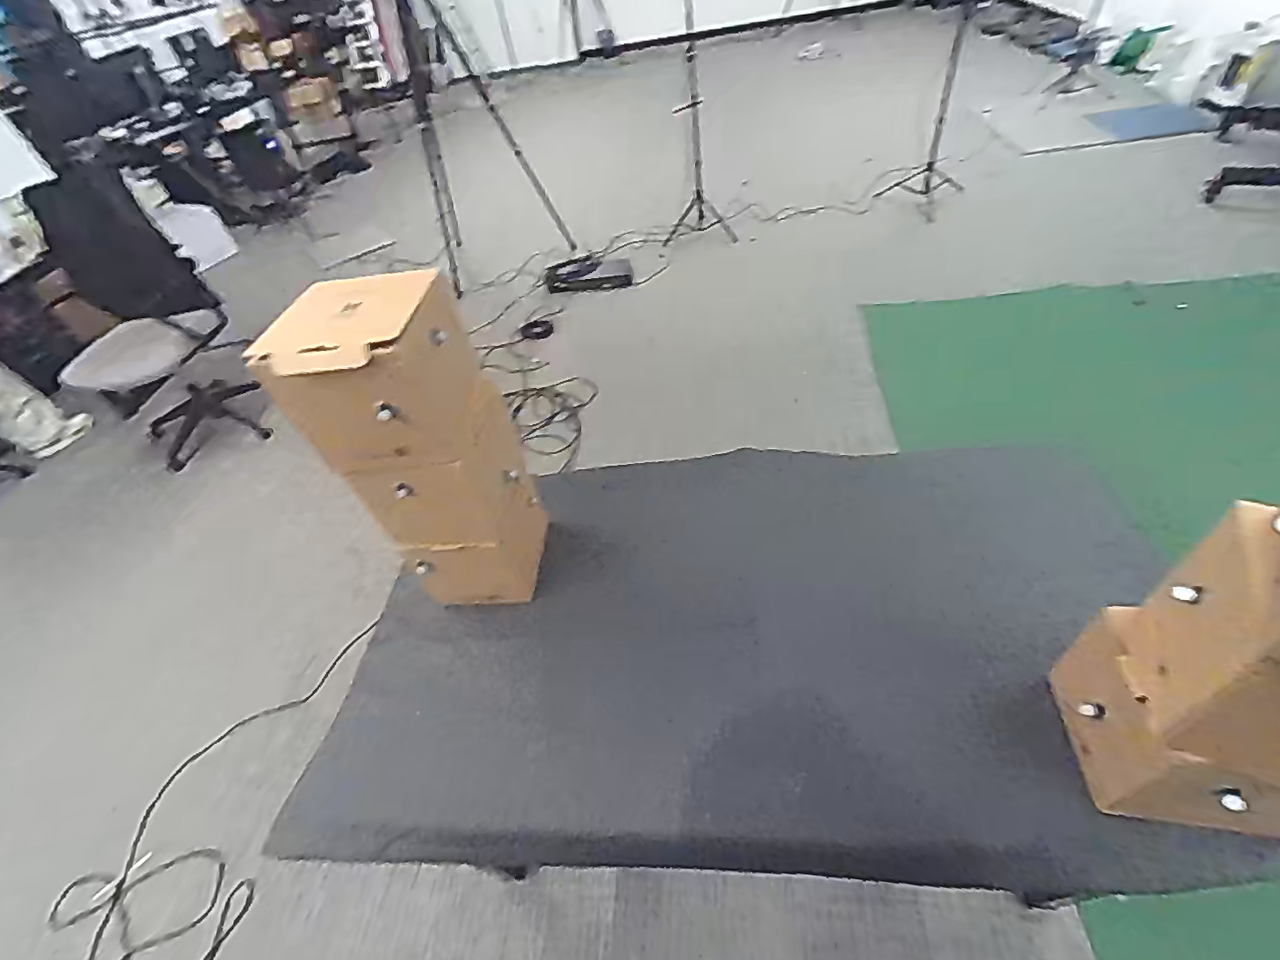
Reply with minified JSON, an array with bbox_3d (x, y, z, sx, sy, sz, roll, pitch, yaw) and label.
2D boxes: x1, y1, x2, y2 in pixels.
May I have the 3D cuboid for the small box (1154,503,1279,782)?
[{"bbox_3d":[0.576,0.152,0.451,0.179,0.176,0.168,19,51,26],"label":"small box"}]

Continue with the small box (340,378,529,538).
[{"bbox_3d":[-0.280,-0.027,0.783,0.179,0.176,0.168,-2,49,8],"label":"small box"}]

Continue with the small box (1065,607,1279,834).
[{"bbox_3d":[0.597,0.255,0.577,0.179,0.176,0.168,1,45,13],"label":"small box"}]

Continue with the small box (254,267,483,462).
[{"bbox_3d":[-0.309,-0.135,0.665,0.168,0.176,0.179,-4,47,5],"label":"small box"}]
